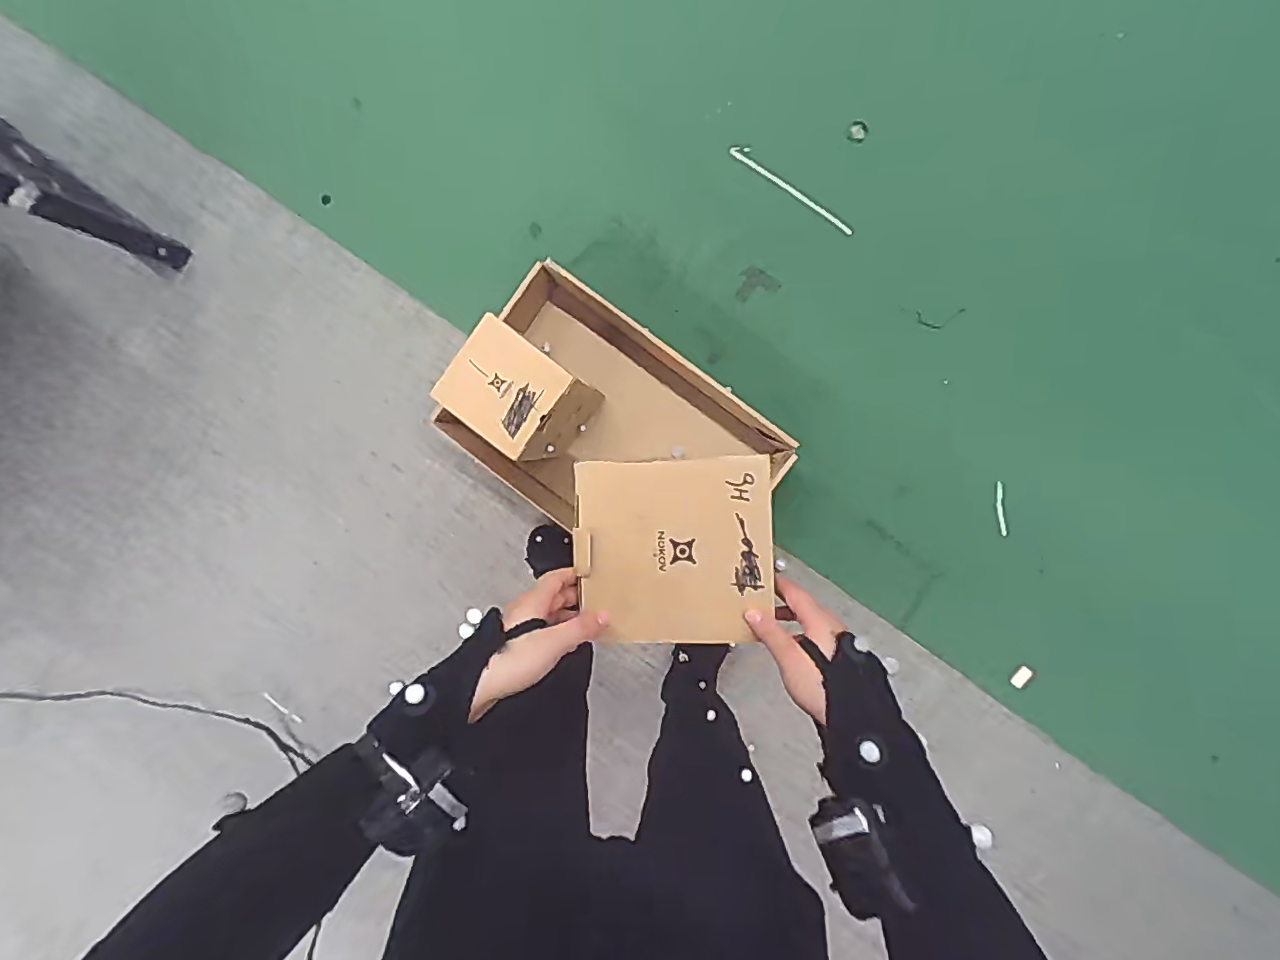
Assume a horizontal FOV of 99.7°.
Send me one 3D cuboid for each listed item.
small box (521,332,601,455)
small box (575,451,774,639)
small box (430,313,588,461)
[{"bbox_3d":[-0.197,-0.164,1.081,0.179,0.176,0.168,37,95,0],"label":"small box"},{"bbox_3d":[0.040,0.059,0.559,0.179,0.176,0.168,-3,90,8],"label":"small box"},{"bbox_3d":[-0.209,-0.151,0.918,0.179,0.176,0.168,38,95,1],"label":"small box"}]
